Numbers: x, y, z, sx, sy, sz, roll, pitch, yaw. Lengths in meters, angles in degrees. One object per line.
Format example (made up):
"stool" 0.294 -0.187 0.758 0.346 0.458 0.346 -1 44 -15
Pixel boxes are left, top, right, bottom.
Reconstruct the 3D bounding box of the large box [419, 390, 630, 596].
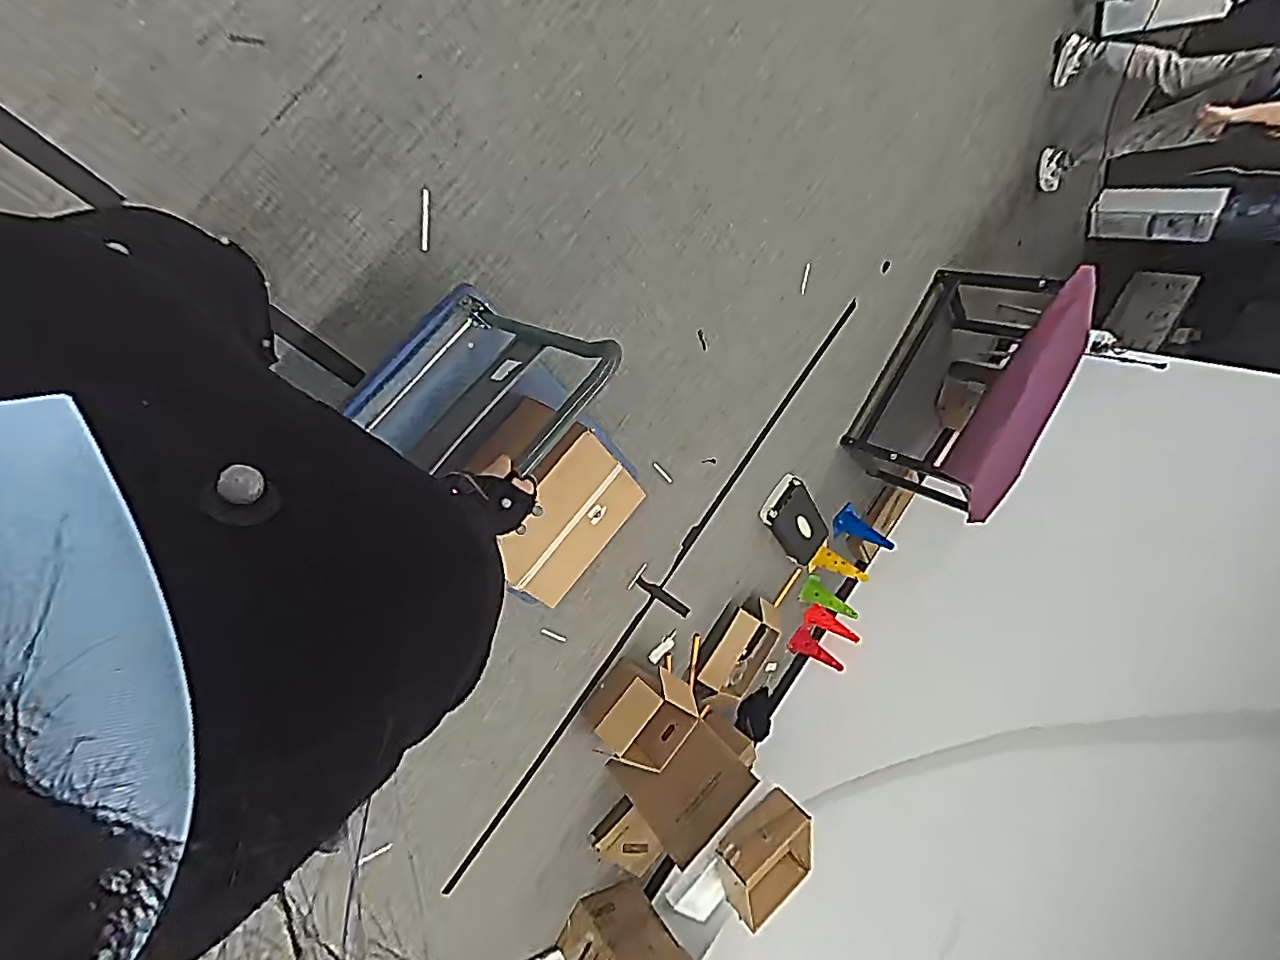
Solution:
"large box" -0.310 0.028 1.469 0.408 0.320 0.320 -52 137 -11
